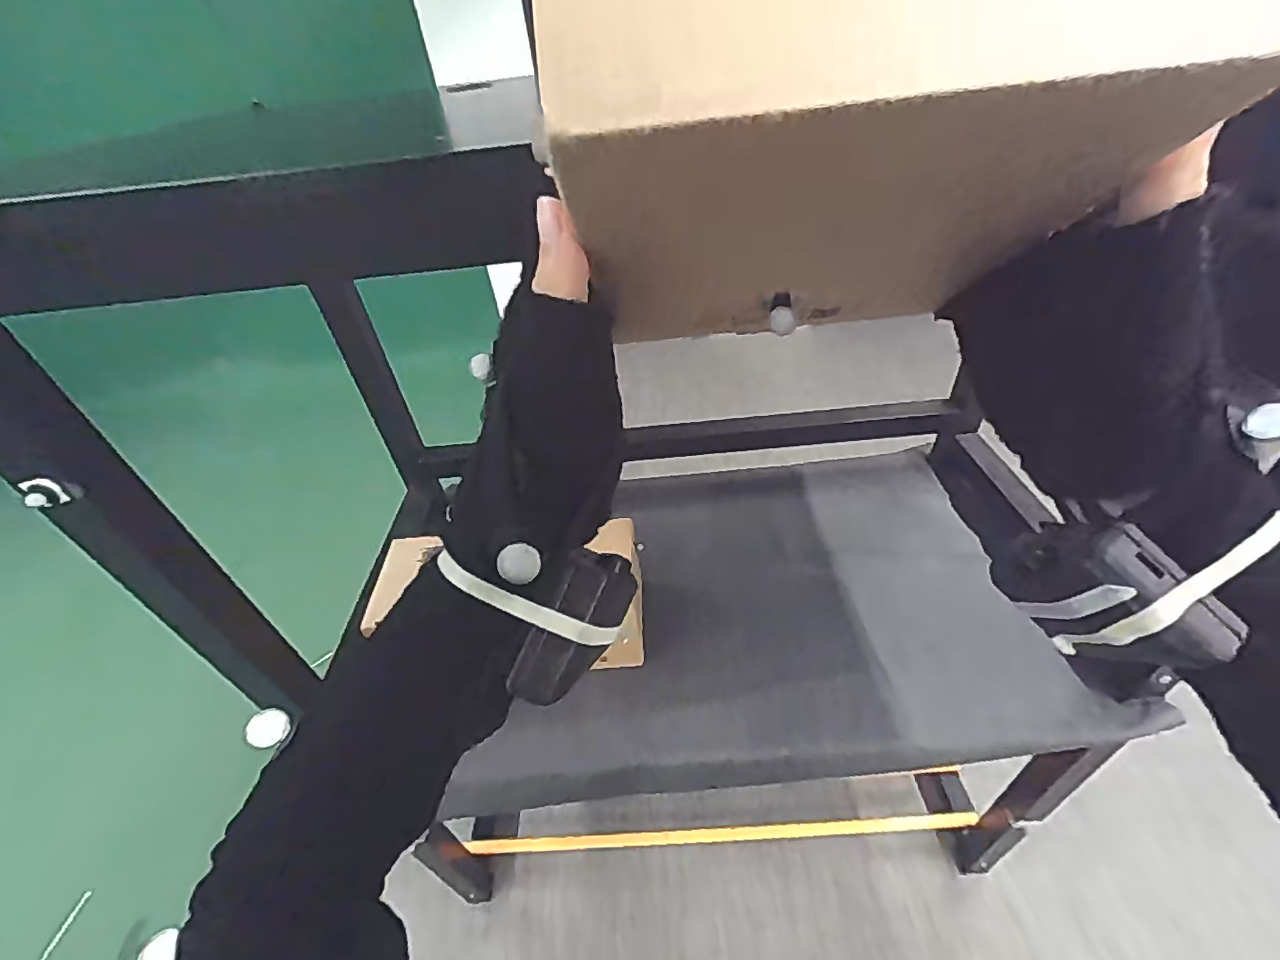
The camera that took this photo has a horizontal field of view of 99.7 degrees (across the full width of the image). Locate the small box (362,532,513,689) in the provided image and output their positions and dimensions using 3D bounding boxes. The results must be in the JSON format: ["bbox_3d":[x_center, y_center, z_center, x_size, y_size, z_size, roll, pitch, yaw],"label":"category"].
[{"bbox_3d":[-0.312,0.210,0.876,0.168,0.176,0.179,-7,40,1],"label":"small box"}]

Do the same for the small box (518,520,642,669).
[{"bbox_3d":[-0.086,0.189,0.872,0.168,0.176,0.179,-5,39,2],"label":"small box"}]

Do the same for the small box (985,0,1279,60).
[{"bbox_3d":[0.340,-0.362,0.318,0.168,0.176,0.179,1,40,9],"label":"small box"}]
